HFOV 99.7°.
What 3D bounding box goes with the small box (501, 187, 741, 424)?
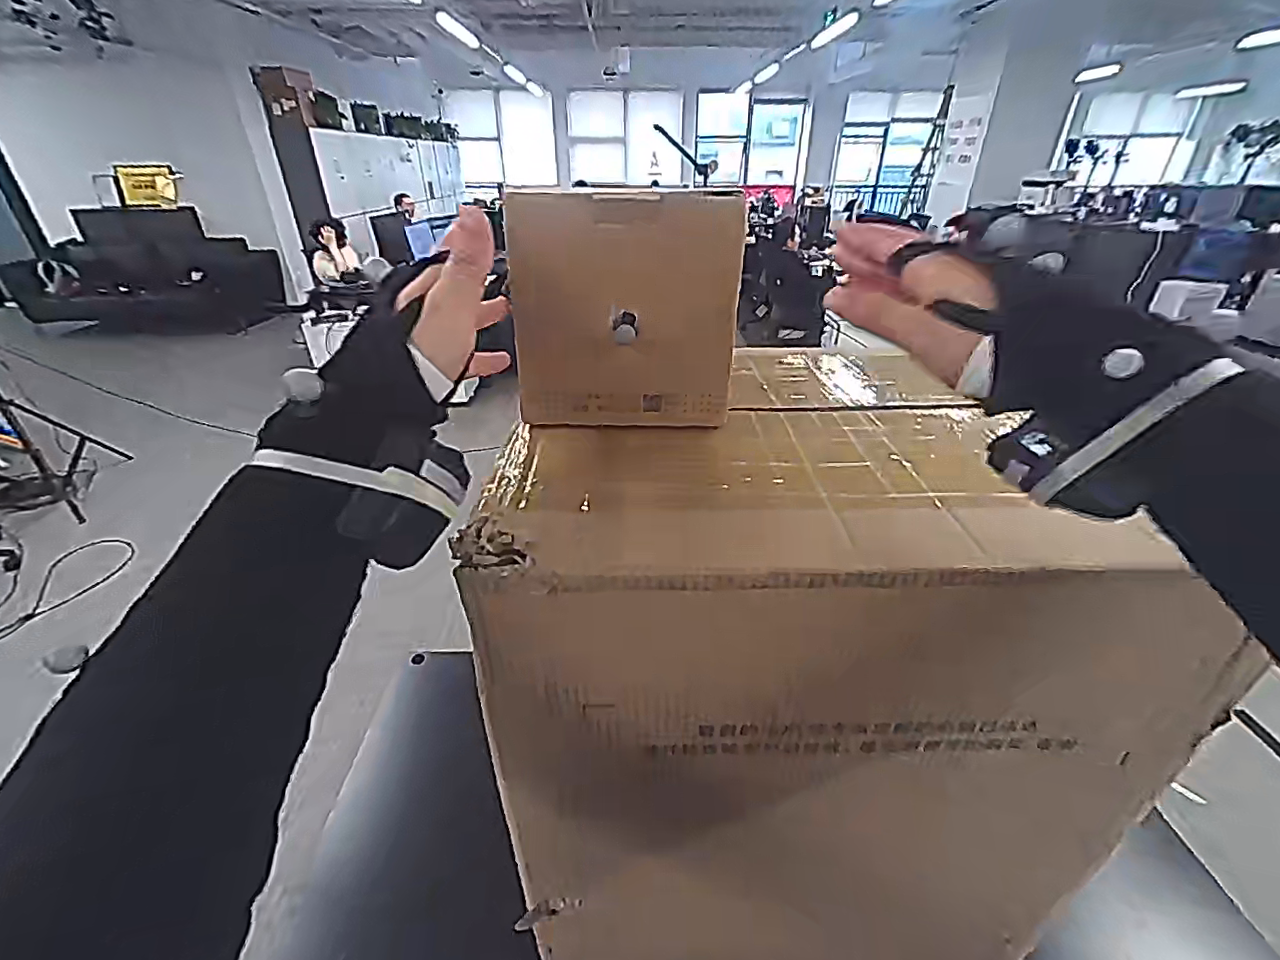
[{"bbox_3d":[-0.012,-0.155,0.470,0.168,0.176,0.179,0,29,-1],"label":"small box"}]
